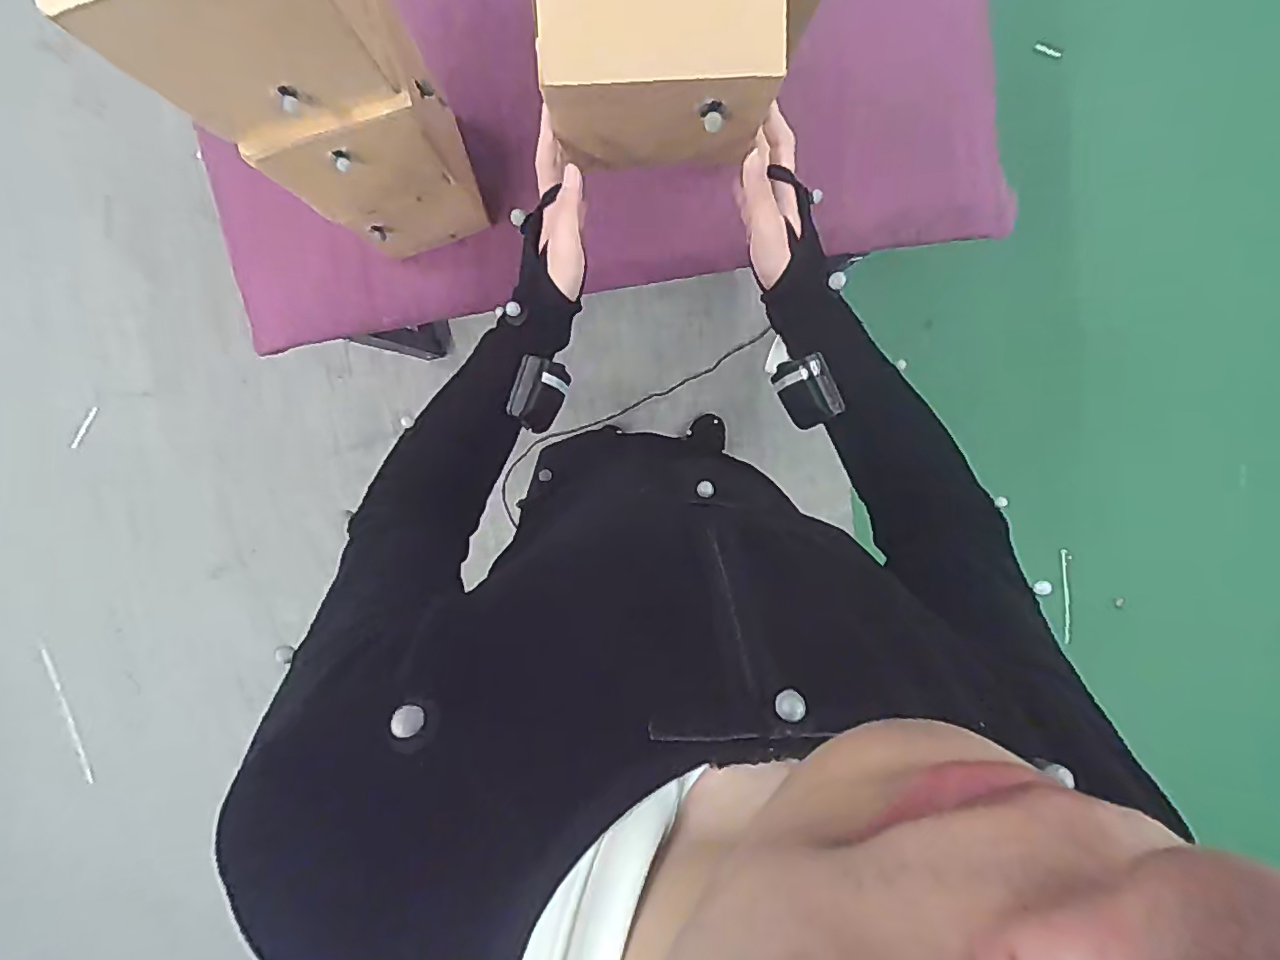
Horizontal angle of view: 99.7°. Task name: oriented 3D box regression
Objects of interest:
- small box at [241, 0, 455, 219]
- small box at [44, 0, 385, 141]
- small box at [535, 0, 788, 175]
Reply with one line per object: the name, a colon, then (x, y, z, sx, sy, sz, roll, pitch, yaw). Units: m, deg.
small box: (-0.321, -0.417, 0.593, 0.179, 0.176, 0.168, -17, 97, 1)
small box: (-0.330, -0.410, 0.428, 0.179, 0.176, 0.168, -16, 97, 0)
small box: (0.013, -0.369, 0.444, 0.179, 0.176, 0.168, -2, 101, 1)
